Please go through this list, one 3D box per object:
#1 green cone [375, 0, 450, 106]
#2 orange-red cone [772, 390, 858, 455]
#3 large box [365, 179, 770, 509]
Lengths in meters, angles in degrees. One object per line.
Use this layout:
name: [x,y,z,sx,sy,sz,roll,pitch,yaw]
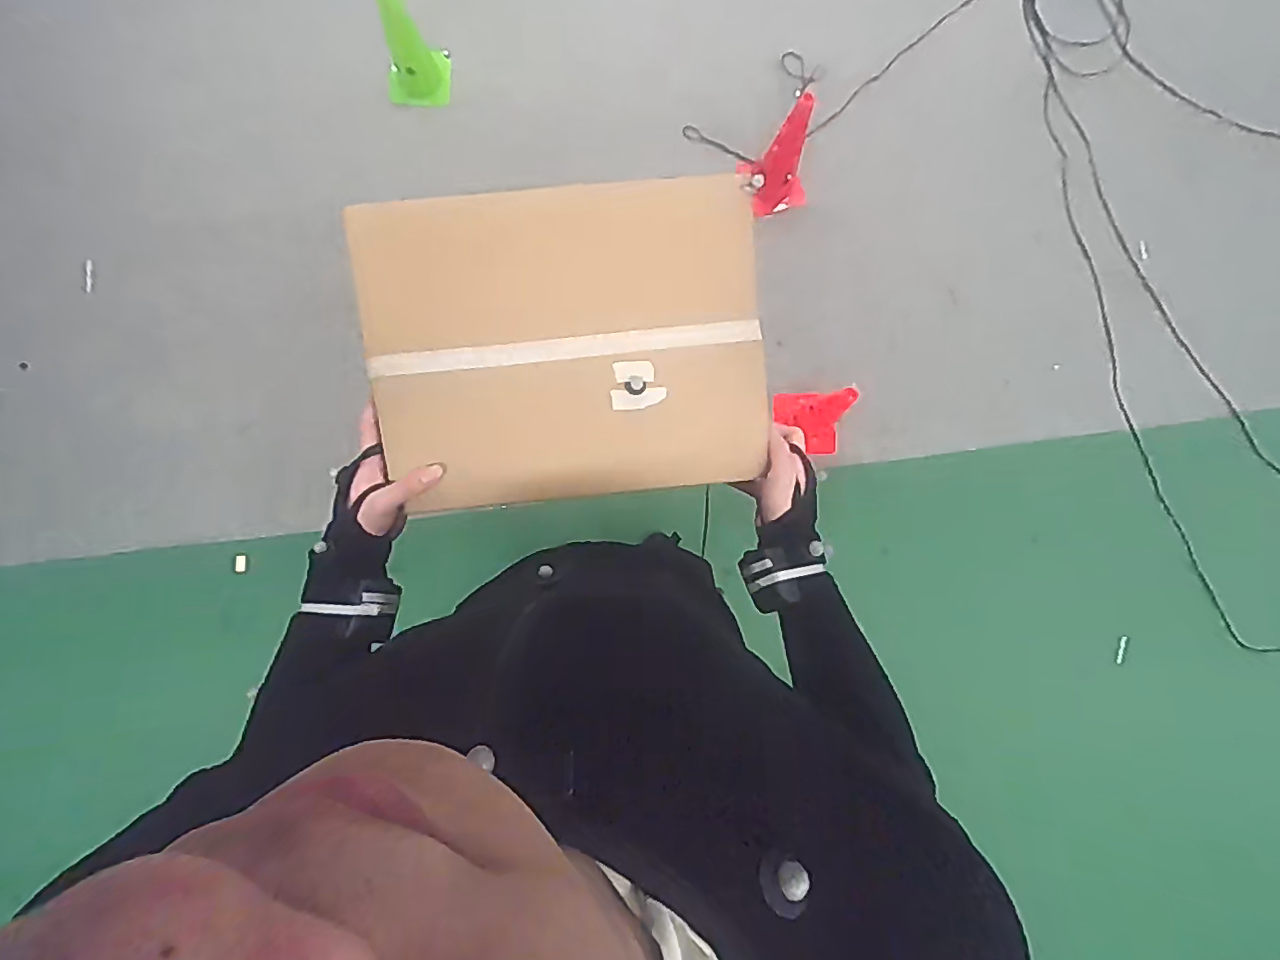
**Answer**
green cone: [-0.731,-1.365,1.638,0.200,0.368,0.202,-1,85,-2]
orange-red cone: [0.531,-0.196,1.551,0.199,0.360,0.198,1,84,-4]
large box: [-0.077,-0.156,0.717,0.408,0.320,0.320,-6,97,-3]
